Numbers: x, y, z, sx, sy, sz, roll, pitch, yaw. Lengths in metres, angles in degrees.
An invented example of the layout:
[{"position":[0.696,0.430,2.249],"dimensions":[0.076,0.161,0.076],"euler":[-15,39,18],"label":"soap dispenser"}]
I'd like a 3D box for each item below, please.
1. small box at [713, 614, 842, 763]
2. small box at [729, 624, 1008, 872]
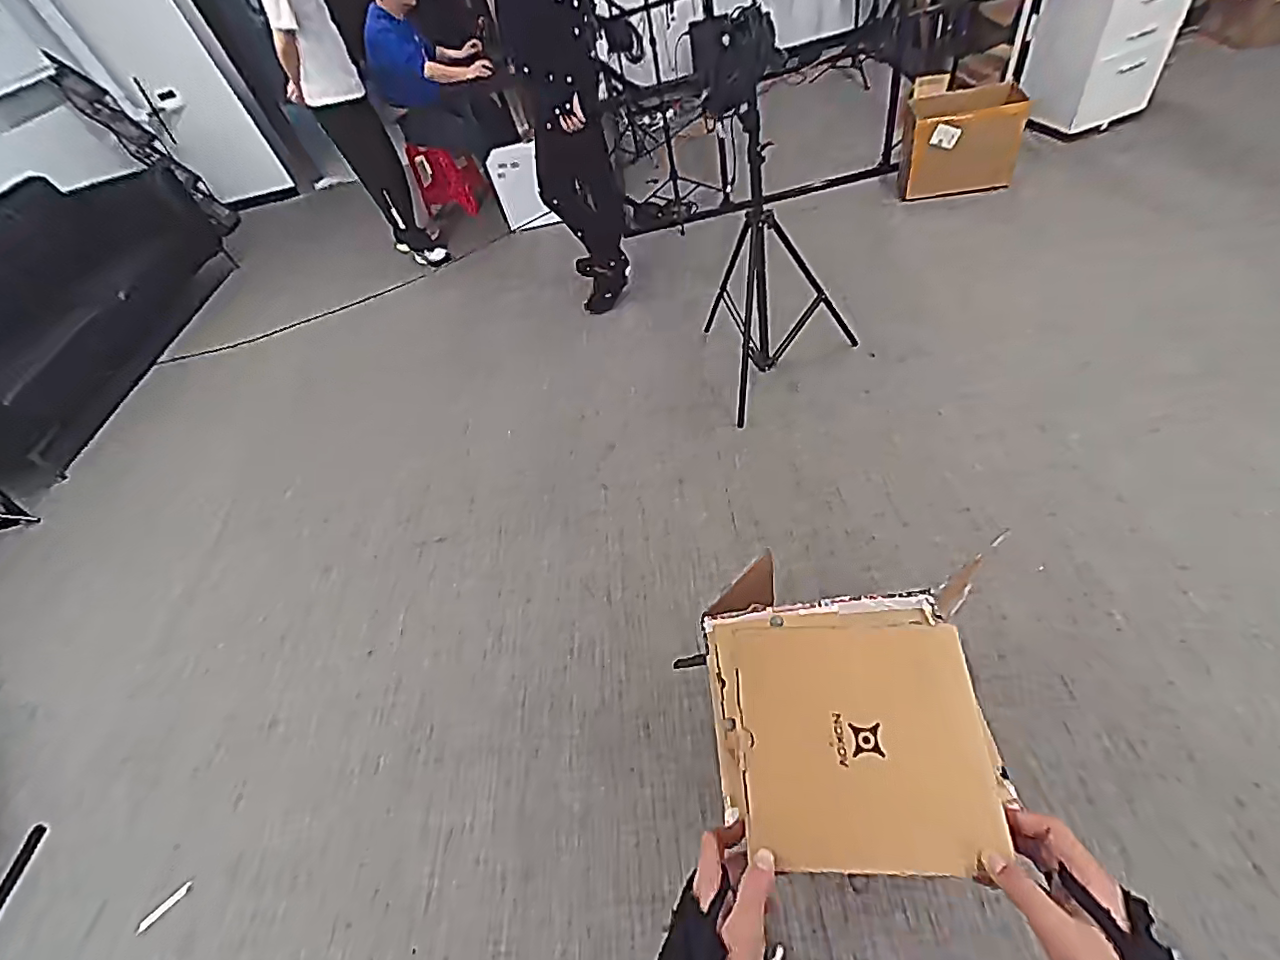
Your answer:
[{"position":[0.207,0.308,0.767],"dimensions":[0.179,0.176,0.168],"euler":[-8,52,8],"label":"small box"},{"position":[0.172,0.225,0.474],"dimensions":[0.179,0.176,0.168],"euler":[-4,63,8],"label":"small box"}]
